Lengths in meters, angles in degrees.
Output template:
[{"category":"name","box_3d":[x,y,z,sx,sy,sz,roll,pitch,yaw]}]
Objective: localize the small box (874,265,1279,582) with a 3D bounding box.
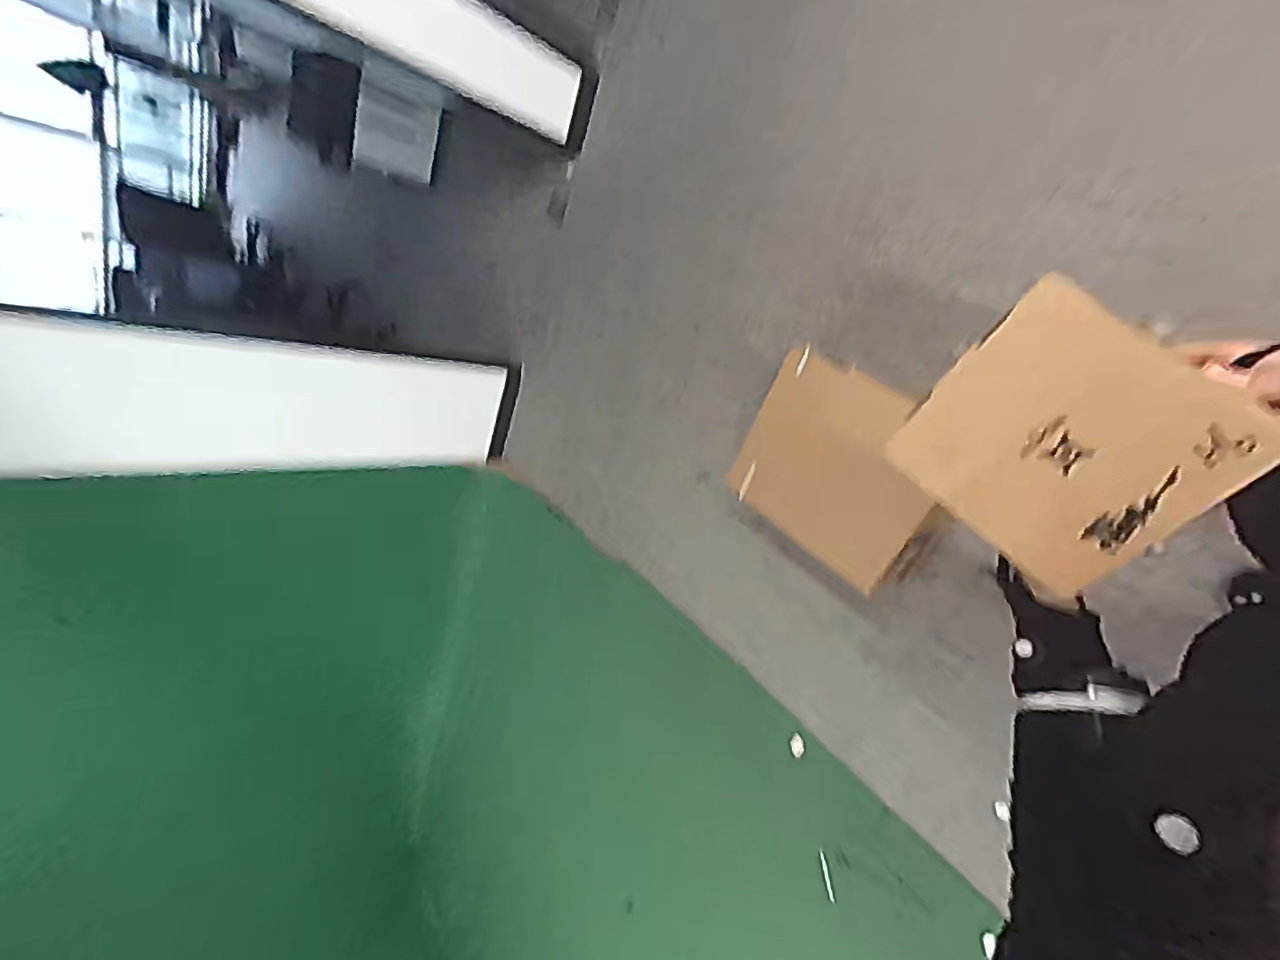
[{"category":"small box","box_3d":[0.339,-0.051,0.453,0.179,0.176,0.168,46,126,19]}]
